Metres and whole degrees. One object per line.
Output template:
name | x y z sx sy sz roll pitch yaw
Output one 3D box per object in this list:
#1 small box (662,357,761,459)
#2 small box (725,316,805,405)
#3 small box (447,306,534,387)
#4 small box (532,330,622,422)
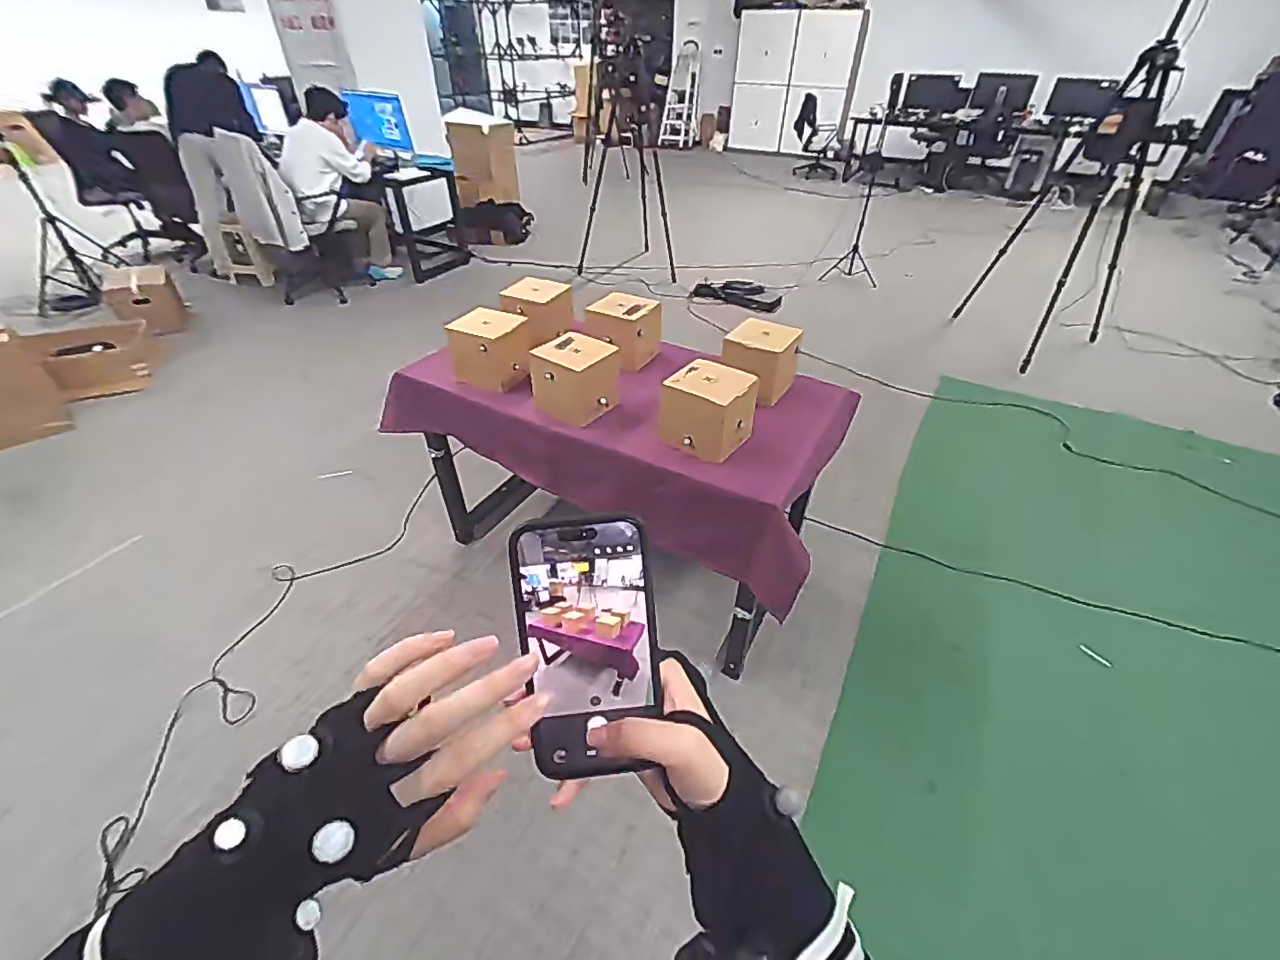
small box | 0.171 -0.173 1.328 0.179 0.176 0.168 27 45 27
small box | 0.344 -0.338 1.531 0.168 0.176 0.179 23 45 26
small box | -0.428 -0.388 1.577 0.179 0.176 0.168 18 42 17
small box | -0.165 -0.277 1.447 0.179 0.176 0.168 26 46 26
